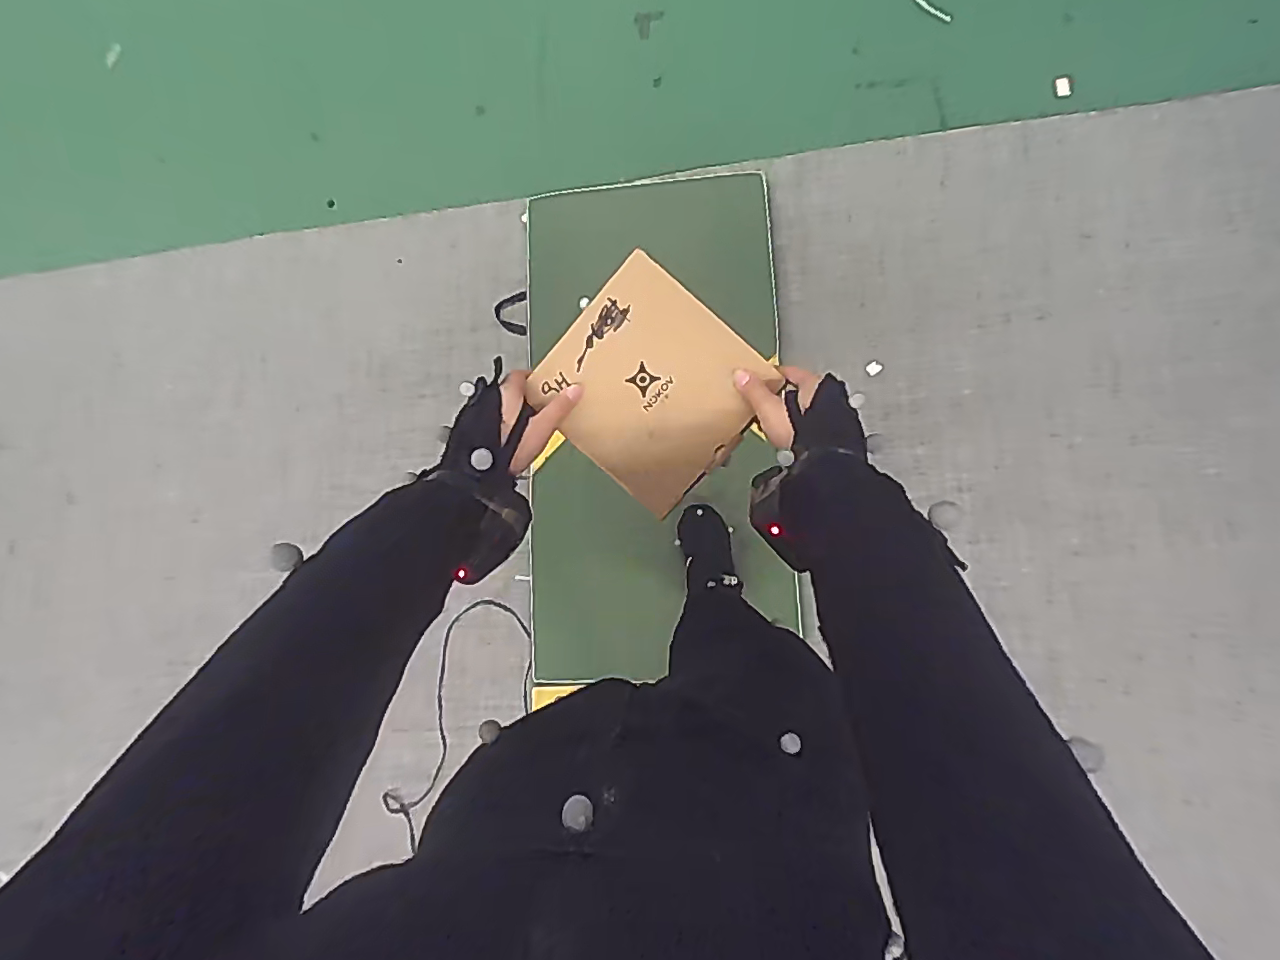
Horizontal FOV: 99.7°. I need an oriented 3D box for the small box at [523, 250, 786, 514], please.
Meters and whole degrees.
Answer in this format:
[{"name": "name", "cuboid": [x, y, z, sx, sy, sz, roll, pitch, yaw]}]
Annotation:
[{"name": "small box", "cuboid": [0.017, -0.092, 0.553, 0.179, 0.176, 0.168, 42, 96, 0]}]
